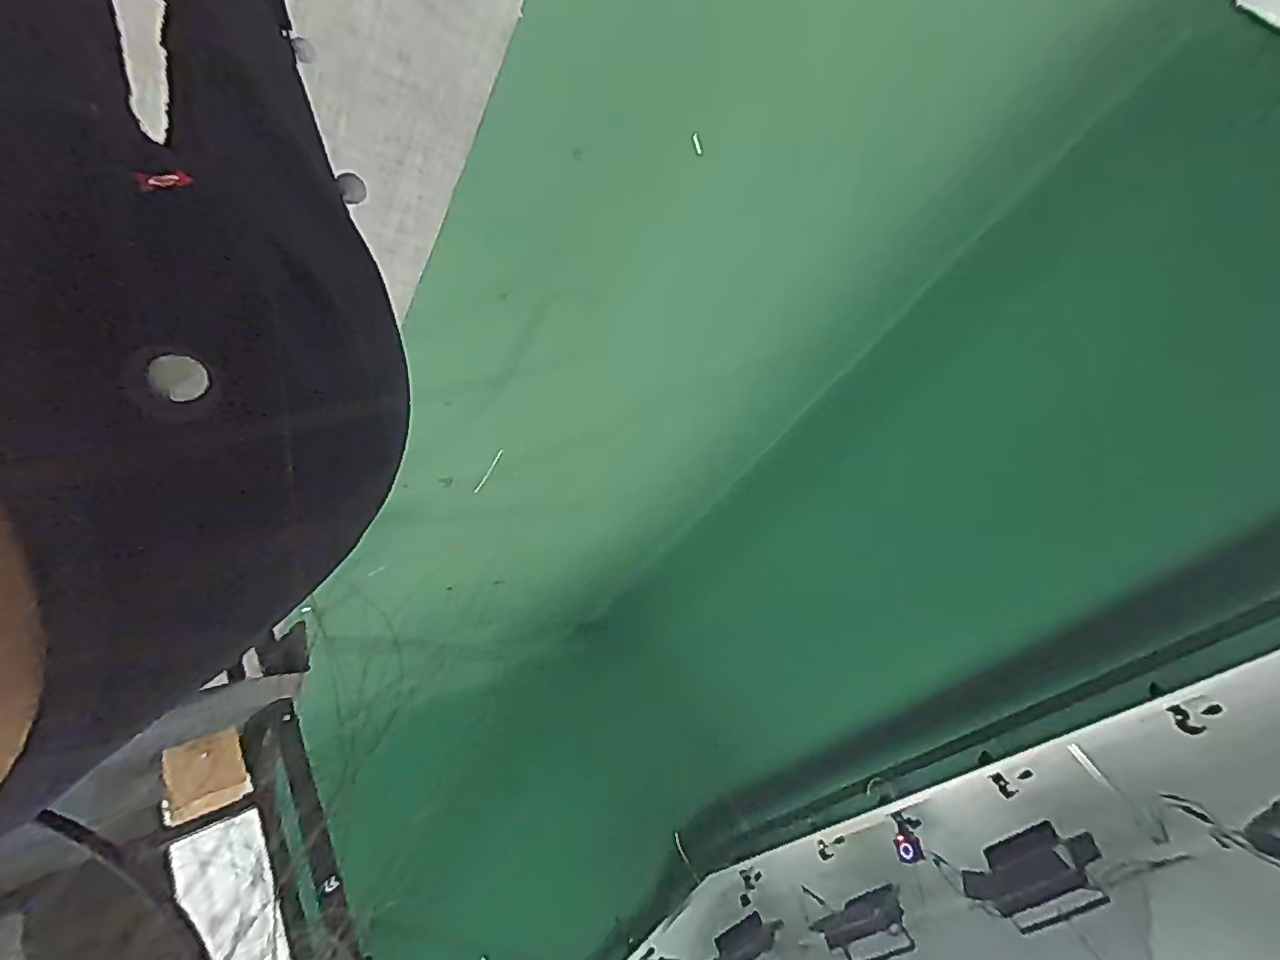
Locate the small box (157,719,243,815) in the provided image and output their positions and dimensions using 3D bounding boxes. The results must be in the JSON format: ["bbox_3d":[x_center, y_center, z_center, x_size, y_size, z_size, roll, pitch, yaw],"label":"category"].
[{"bbox_3d":[-1.268,0.820,1.557,0.168,0.176,0.179,-8,147,-46],"label":"small box"}]
